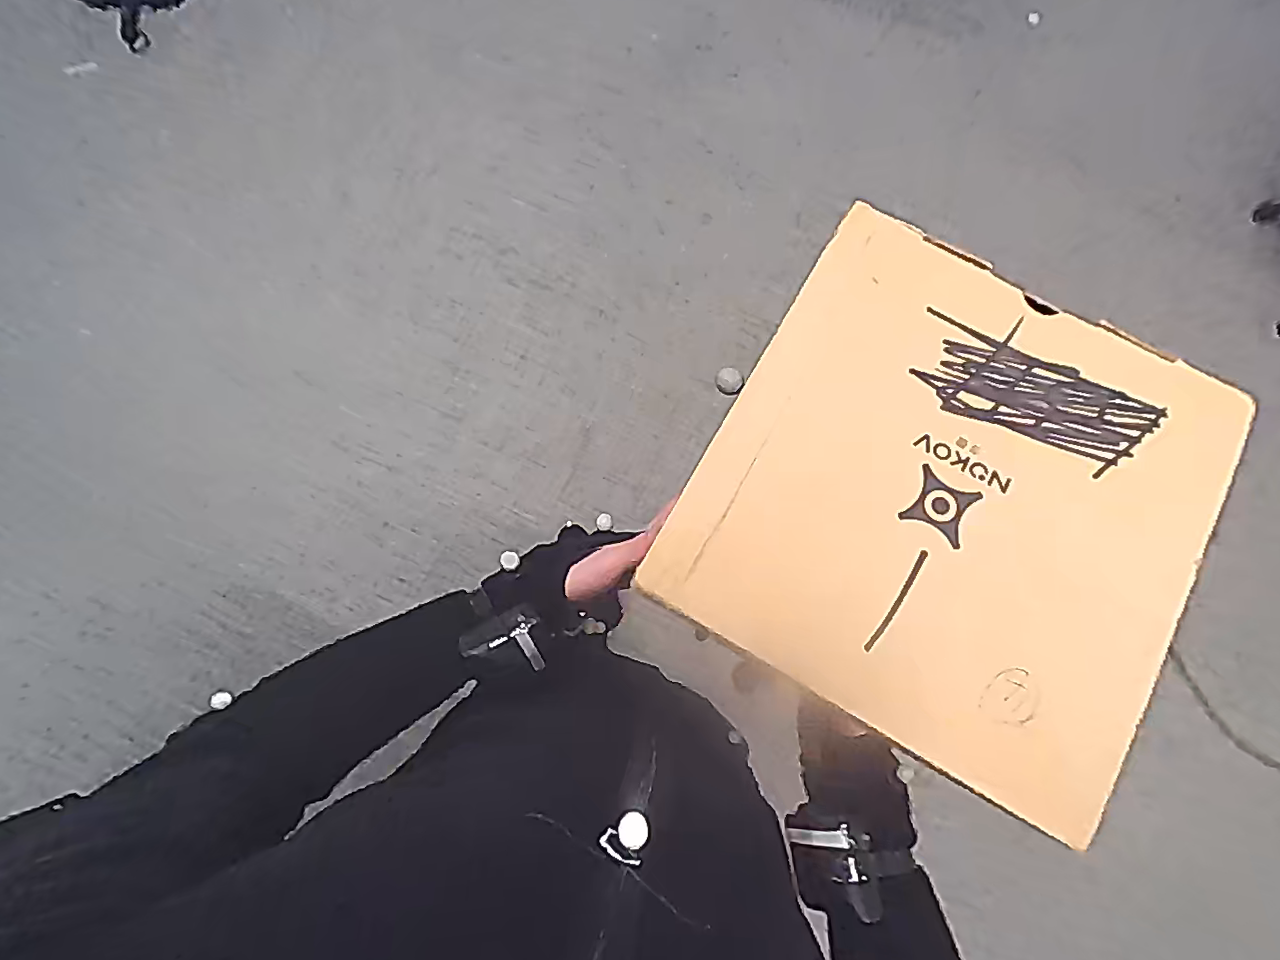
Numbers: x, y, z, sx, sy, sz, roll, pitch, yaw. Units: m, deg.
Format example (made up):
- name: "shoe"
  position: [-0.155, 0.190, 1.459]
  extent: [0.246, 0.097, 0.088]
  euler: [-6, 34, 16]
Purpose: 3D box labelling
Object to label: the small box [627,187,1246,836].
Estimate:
- name: "small box"
  position: [0.105, 0.013, 0.266]
  extent: [0.168, 0.176, 0.179]
  euler: [30, 81, 6]
